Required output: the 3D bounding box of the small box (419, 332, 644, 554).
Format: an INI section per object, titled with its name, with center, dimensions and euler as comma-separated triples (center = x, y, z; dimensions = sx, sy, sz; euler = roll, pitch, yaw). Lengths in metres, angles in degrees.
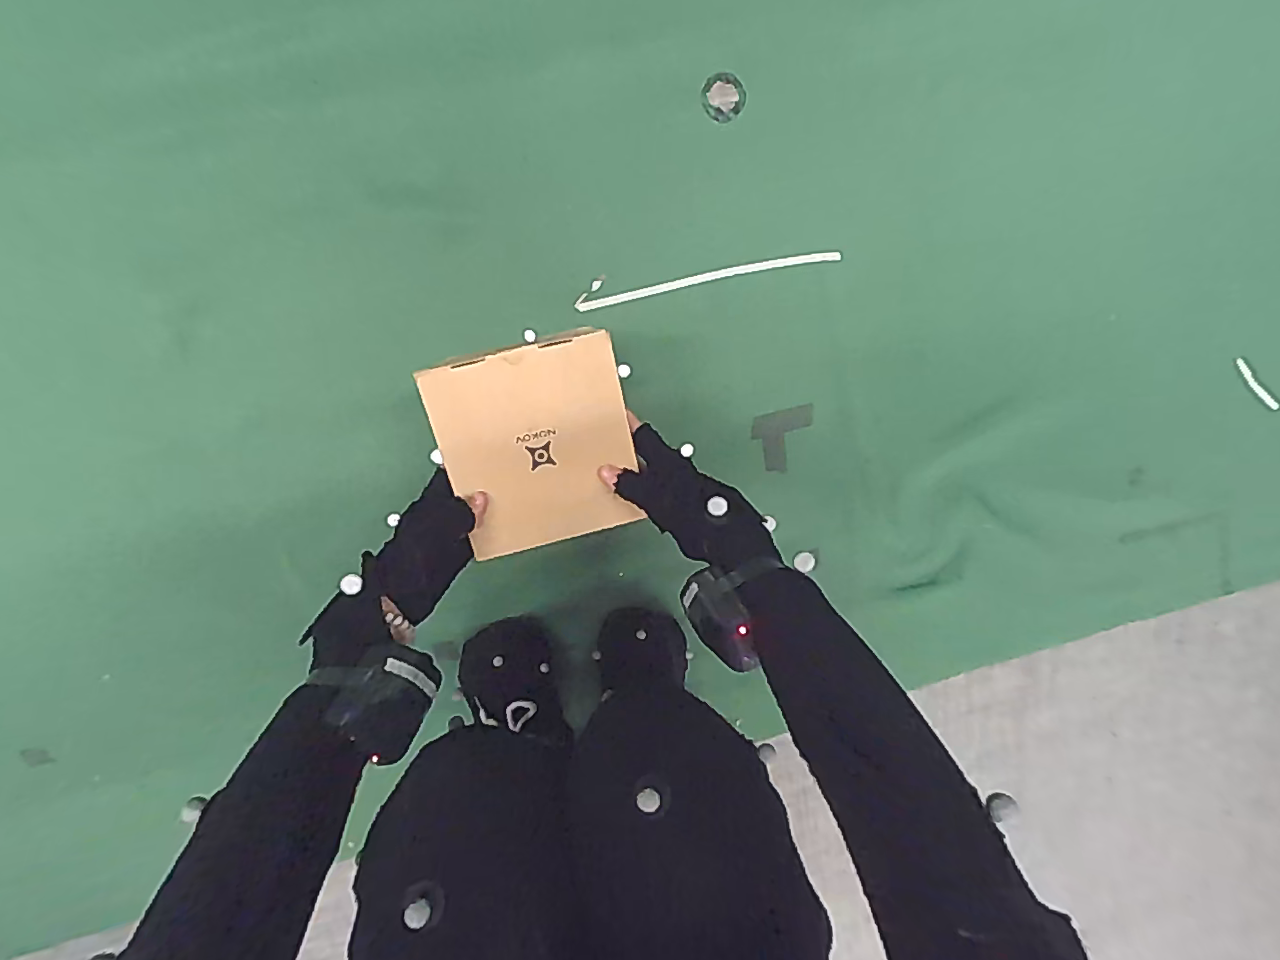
[small box]
center = -0.101, -0.050, 0.555
dimensions = 0.168, 0.176, 0.179
euler = -14, 106, -6
